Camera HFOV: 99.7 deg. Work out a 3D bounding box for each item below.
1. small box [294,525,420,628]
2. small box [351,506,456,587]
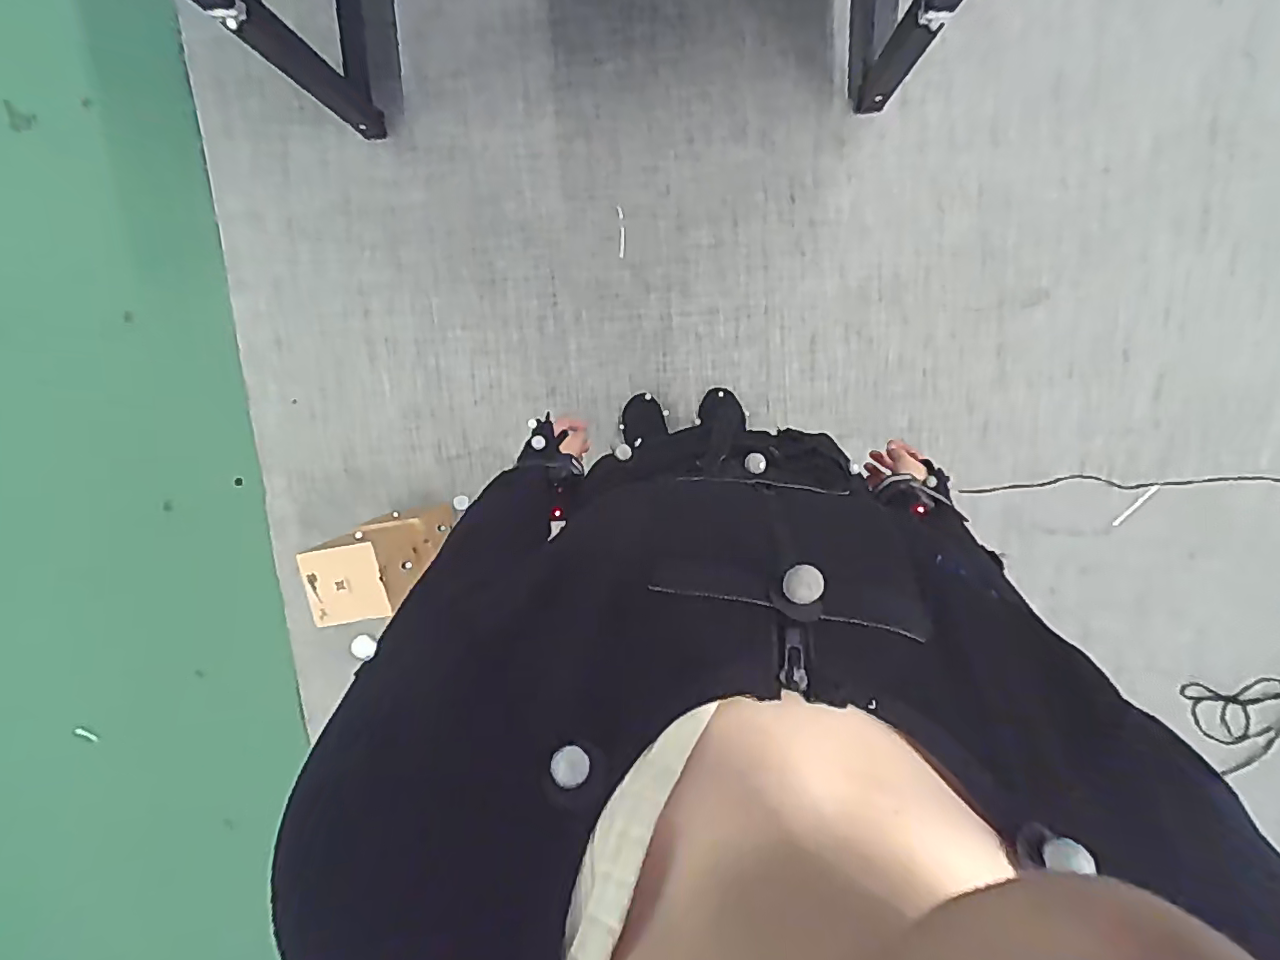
[{"bbox_3d":[-0.608,0.205,1.192,0.179,0.176,0.168,-10,98,4],"label":"small box"},{"bbox_3d":[-0.577,0.167,1.350,0.179,0.176,0.168,-9,98,6],"label":"small box"}]
